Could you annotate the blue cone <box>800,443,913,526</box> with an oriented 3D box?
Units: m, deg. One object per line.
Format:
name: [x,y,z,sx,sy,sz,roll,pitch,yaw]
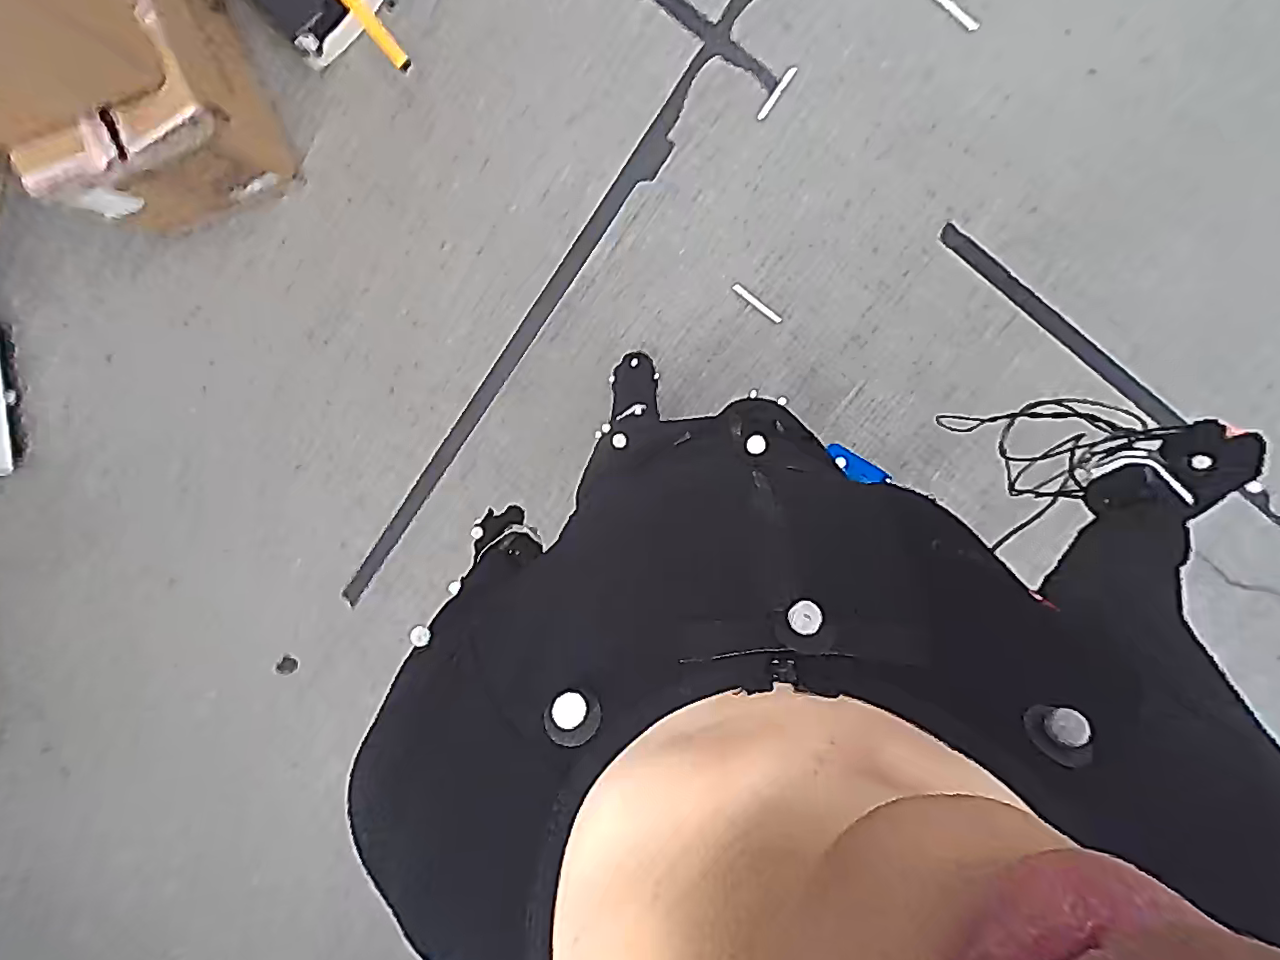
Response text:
blue cone: [0.538,0.040,1.282,0.193,0.380,0.192,31,98,-3]
